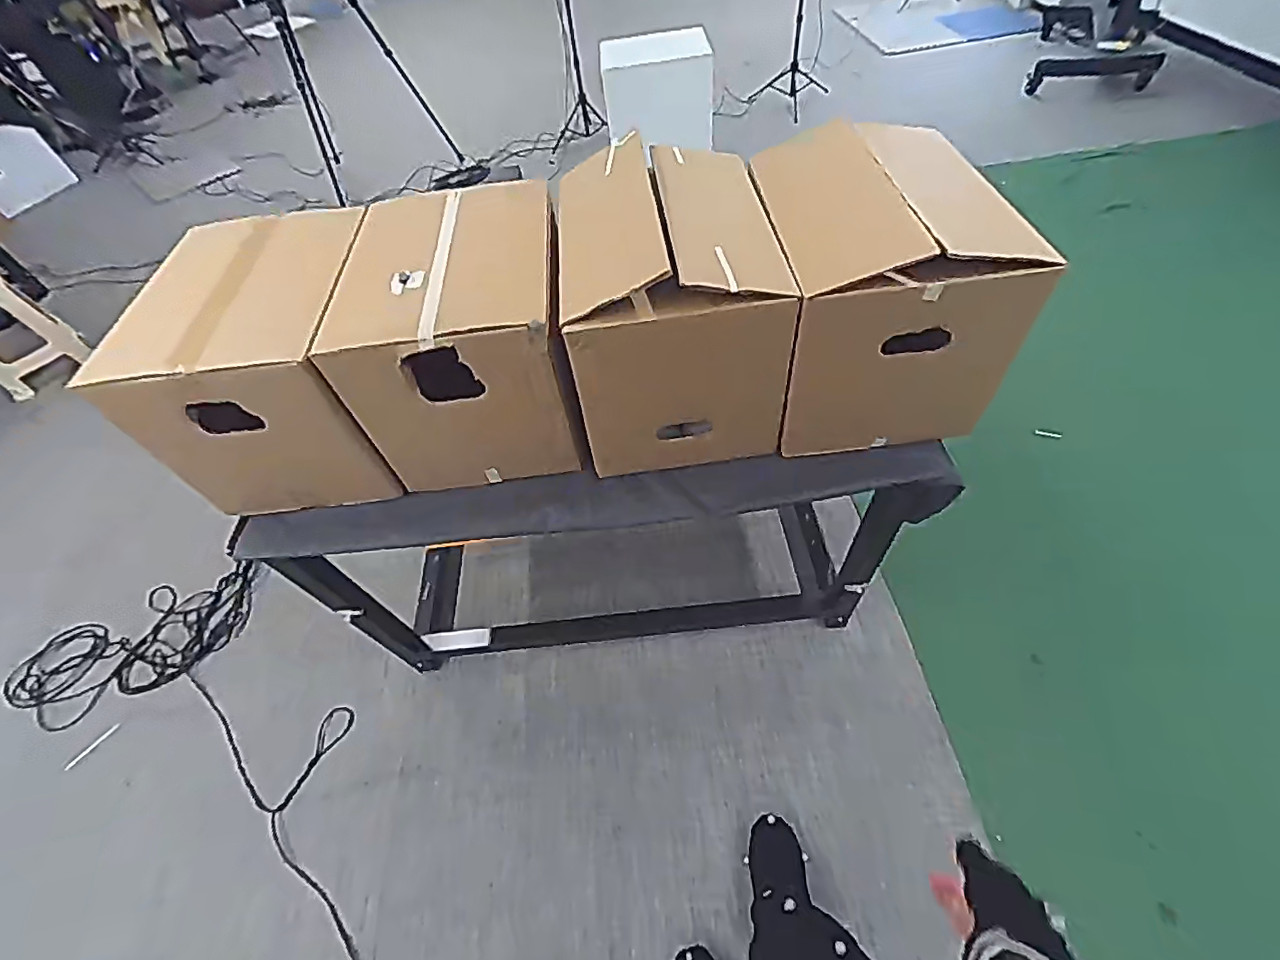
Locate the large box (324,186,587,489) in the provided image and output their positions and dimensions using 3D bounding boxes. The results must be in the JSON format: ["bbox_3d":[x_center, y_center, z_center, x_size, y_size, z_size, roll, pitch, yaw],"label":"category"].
[{"bbox_3d":[-0.274,-0.246,0.940,0.320,0.320,0.408,-8,54,2],"label":"large box"}]
